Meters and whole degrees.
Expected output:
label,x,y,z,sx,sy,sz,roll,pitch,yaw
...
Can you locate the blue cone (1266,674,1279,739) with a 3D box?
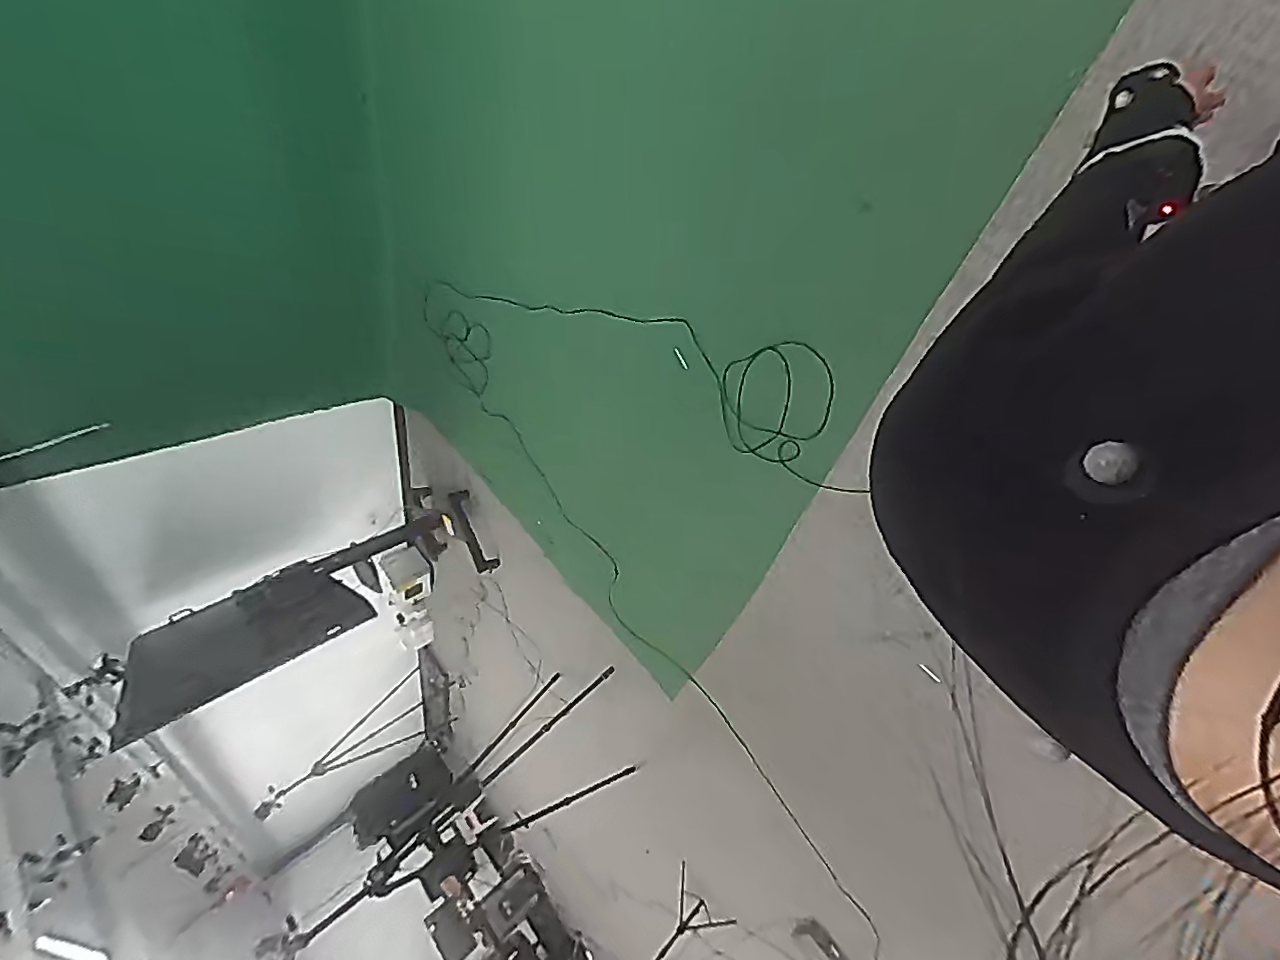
label,x,y,z,sx,sy,sz,roll,pitch,yaw
blue cone,1.296,0.544,0.982,0.192,0.380,0.193,-6,108,49
